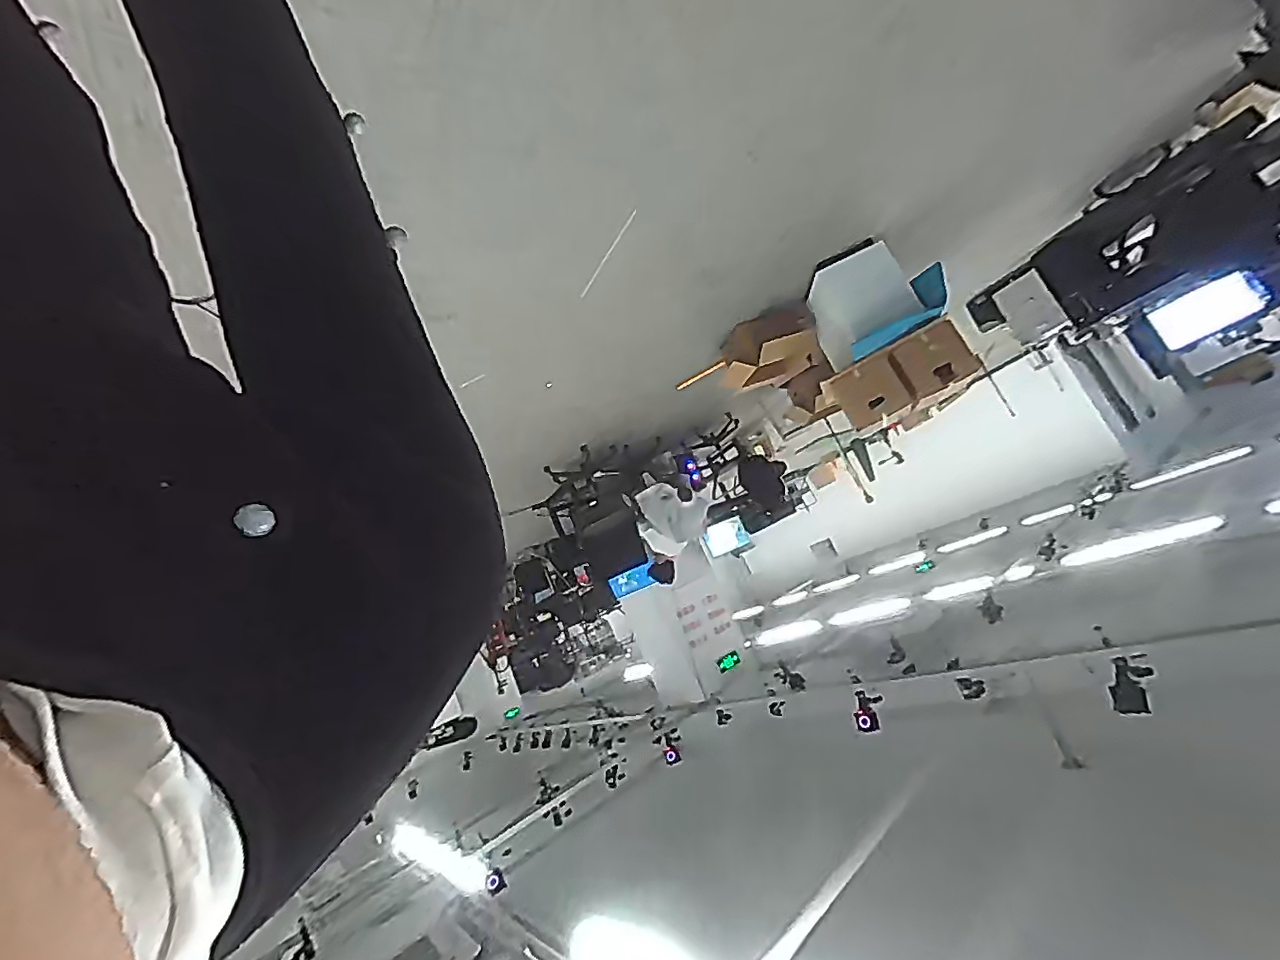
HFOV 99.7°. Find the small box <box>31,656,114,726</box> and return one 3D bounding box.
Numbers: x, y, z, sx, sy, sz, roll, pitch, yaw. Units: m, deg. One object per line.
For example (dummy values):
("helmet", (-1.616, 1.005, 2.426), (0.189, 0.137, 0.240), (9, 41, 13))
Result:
("small box", (-1.929, 0.713, 1.833), (0.168, 0.176, 0.179), (-15, 165, -37))

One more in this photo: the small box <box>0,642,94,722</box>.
("small box", (-1.771, 0.599, 1.608), (0.168, 0.176, 0.179), (-16, 167, -40))
